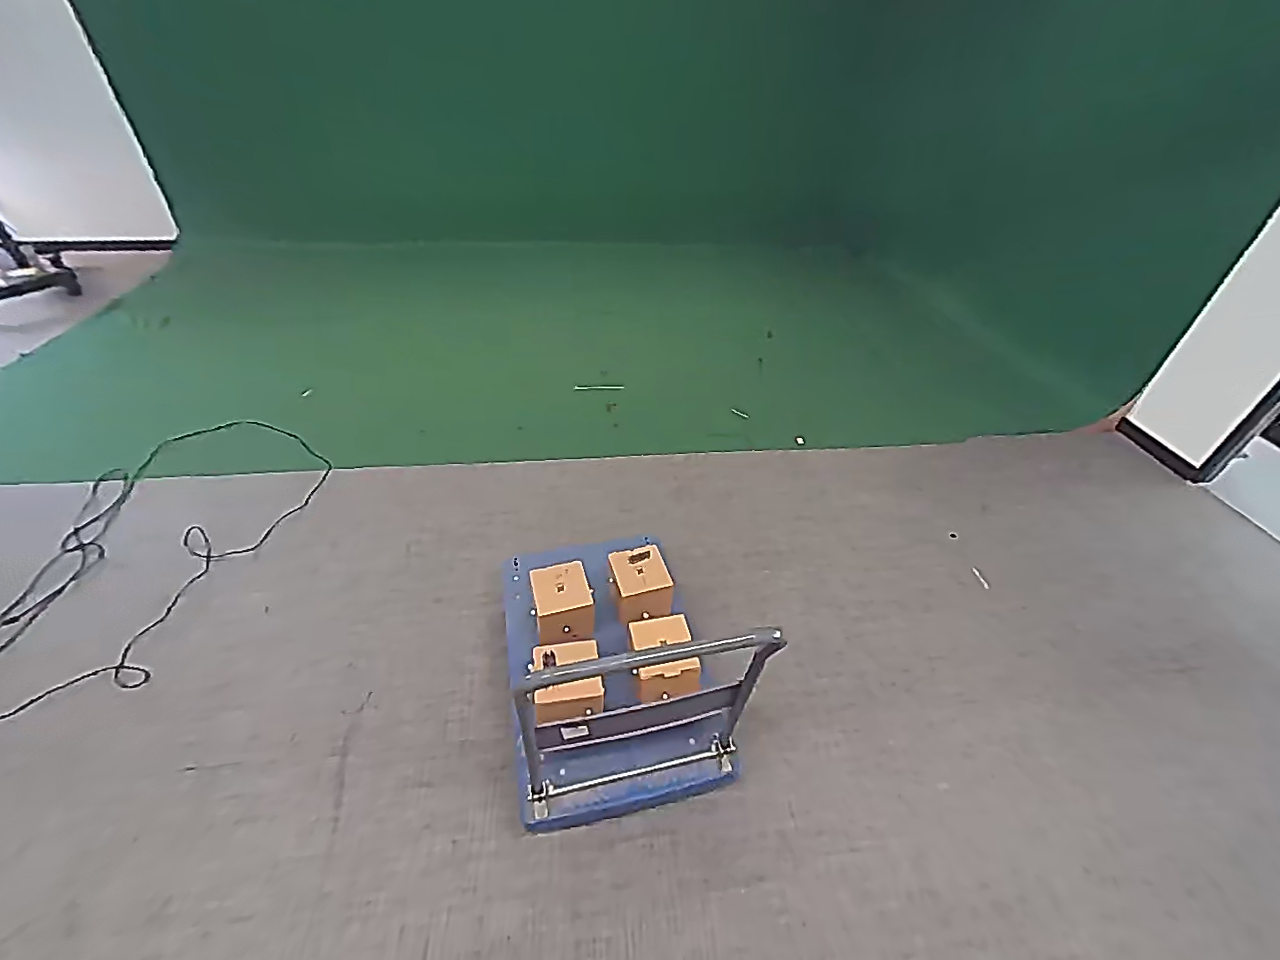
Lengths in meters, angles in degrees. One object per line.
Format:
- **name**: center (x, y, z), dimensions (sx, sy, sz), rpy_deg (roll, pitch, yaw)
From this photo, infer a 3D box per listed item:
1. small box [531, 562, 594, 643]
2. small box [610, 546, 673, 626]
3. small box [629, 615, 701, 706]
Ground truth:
- **small box**: center (-0.240, 0.389, 1.695), dimensions (0.168, 0.176, 0.179), rpy_deg (-9, 43, -15)
- **small box**: center (-0.001, 0.345, 1.759), dimensions (0.168, 0.176, 0.179), rpy_deg (-11, 44, -14)
- **small box**: center (0.064, 0.521, 1.564), dimensions (0.168, 0.176, 0.179), rpy_deg (-7, 42, -11)
